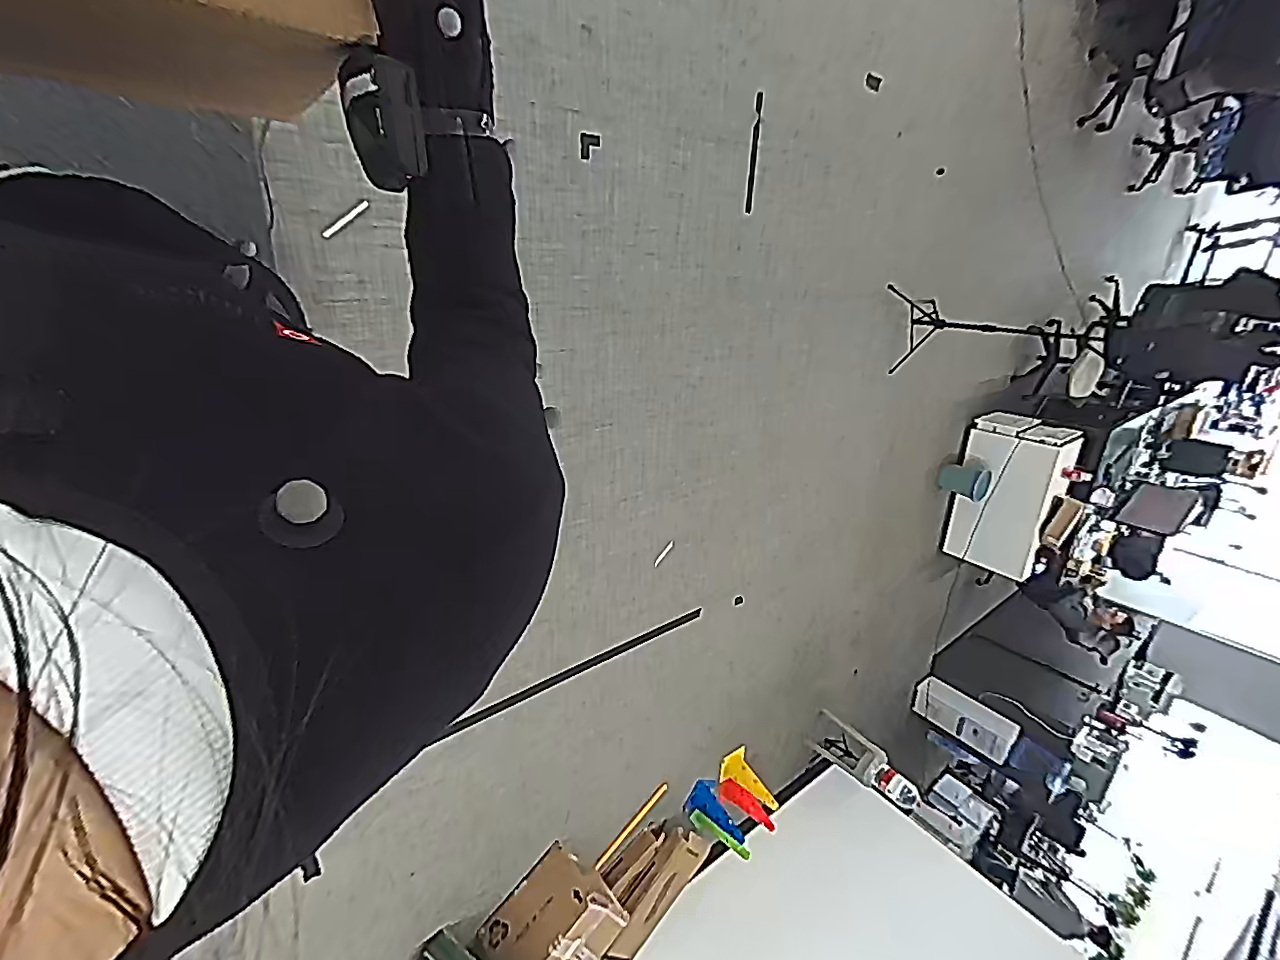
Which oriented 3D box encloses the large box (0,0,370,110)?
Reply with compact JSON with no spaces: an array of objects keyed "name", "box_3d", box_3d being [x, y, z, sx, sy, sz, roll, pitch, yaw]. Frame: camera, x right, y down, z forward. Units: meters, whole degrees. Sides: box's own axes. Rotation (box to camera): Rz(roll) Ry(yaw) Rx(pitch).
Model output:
[{"name":"large box","box_3d":[-0.399,-0.407,0.248,0.408,0.320,0.320,-14,120,-37]}]
